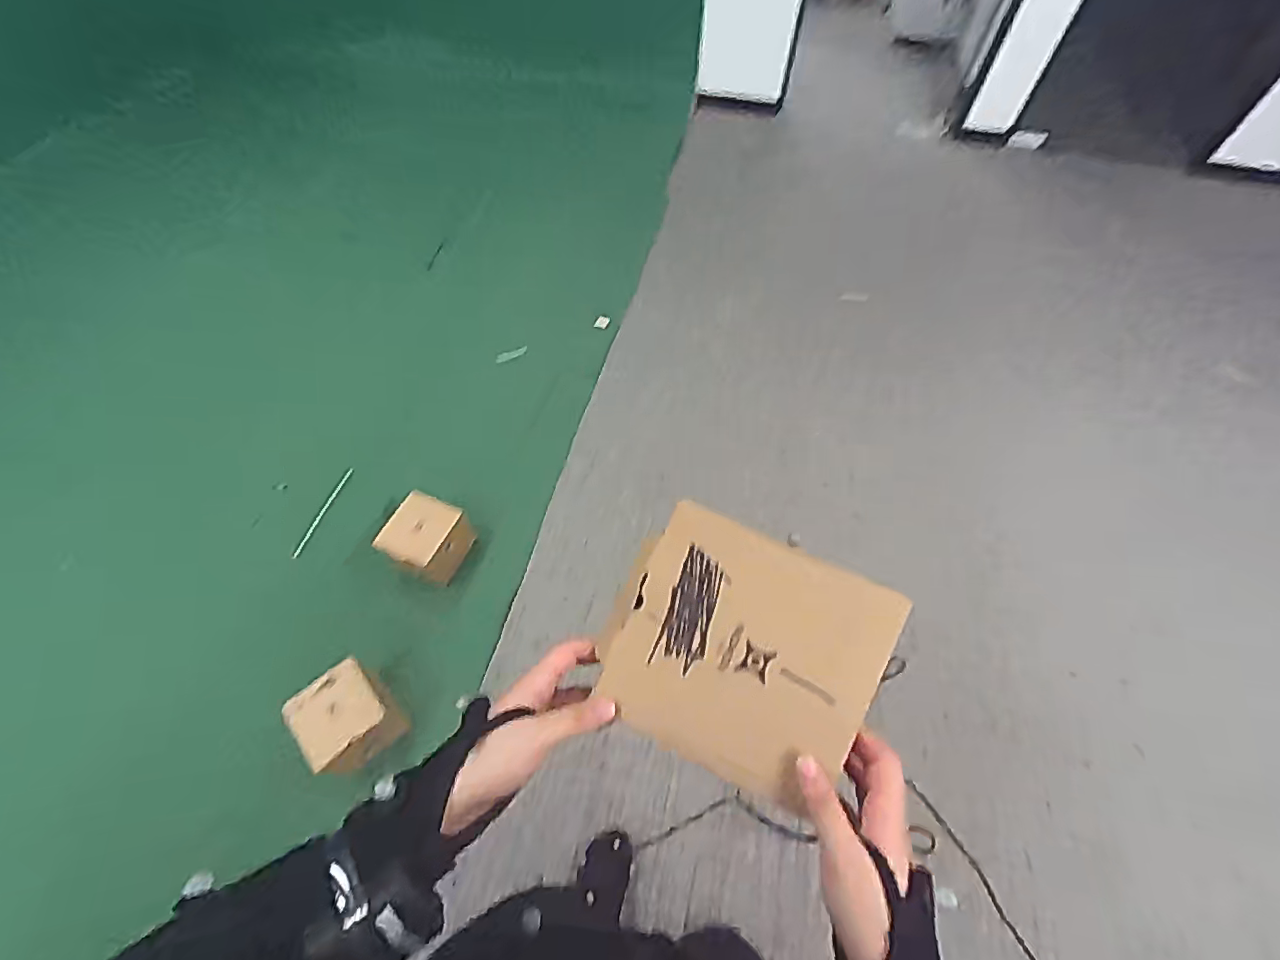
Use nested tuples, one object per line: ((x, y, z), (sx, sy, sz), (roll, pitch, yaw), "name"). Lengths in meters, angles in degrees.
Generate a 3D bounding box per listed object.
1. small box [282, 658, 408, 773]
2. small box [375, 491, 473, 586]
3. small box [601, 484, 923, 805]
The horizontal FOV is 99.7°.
((-0.670, 0.547, 1.249), (0.168, 0.176, 0.179), (-36, 66, -22), "small box")
((-0.585, 0.167, 1.493), (0.168, 0.176, 0.179), (21, 58, 10), "small box")
((0.092, 0.119, 0.454), (0.179, 0.176, 0.168), (24, 87, 9), "small box")
